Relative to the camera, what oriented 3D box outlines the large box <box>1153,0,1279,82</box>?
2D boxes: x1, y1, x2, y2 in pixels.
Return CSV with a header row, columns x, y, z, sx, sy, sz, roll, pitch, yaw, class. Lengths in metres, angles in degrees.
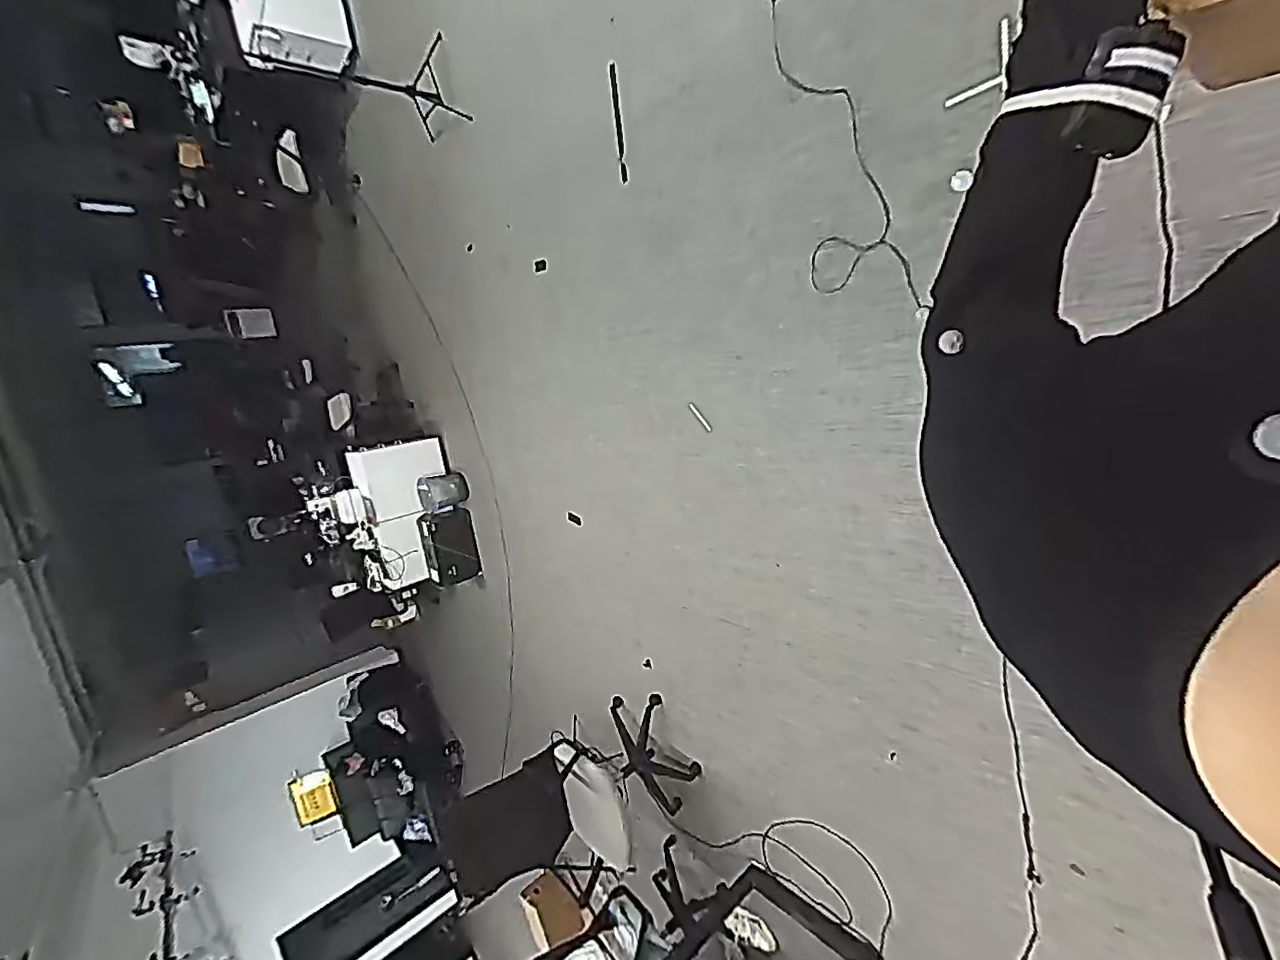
x,y,z,sx,sy,sz,roll,pitch,yaw,class
0.548,-0.462,0.249,0.408,0.320,0.320,13,117,48,large box
